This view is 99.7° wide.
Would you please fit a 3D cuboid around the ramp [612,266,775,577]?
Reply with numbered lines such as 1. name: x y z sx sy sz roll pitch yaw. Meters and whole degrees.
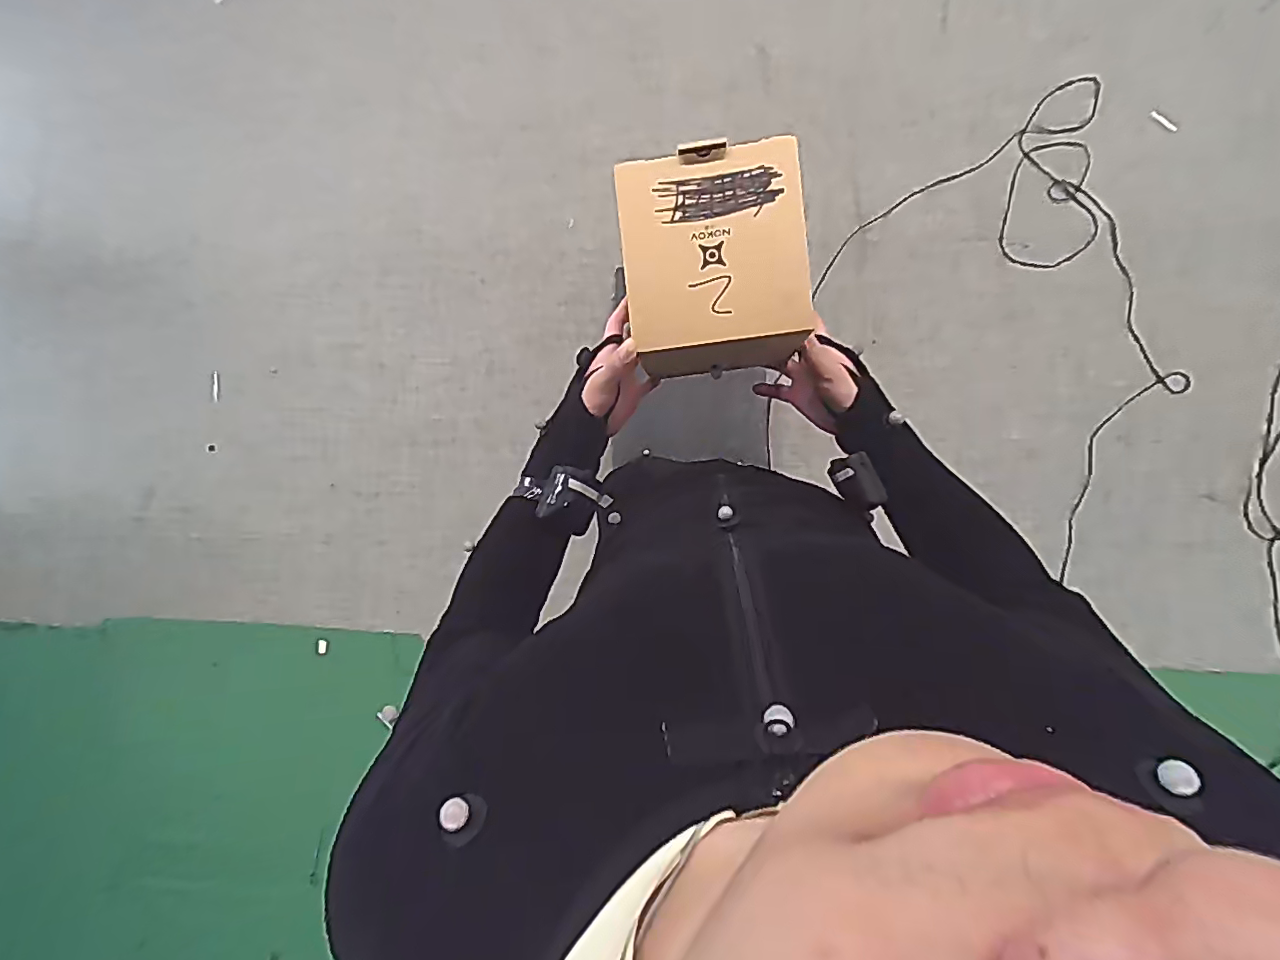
1. ramp: 0.163 -0.202 1.700 0.509 0.206 0.991 -2 90 8
